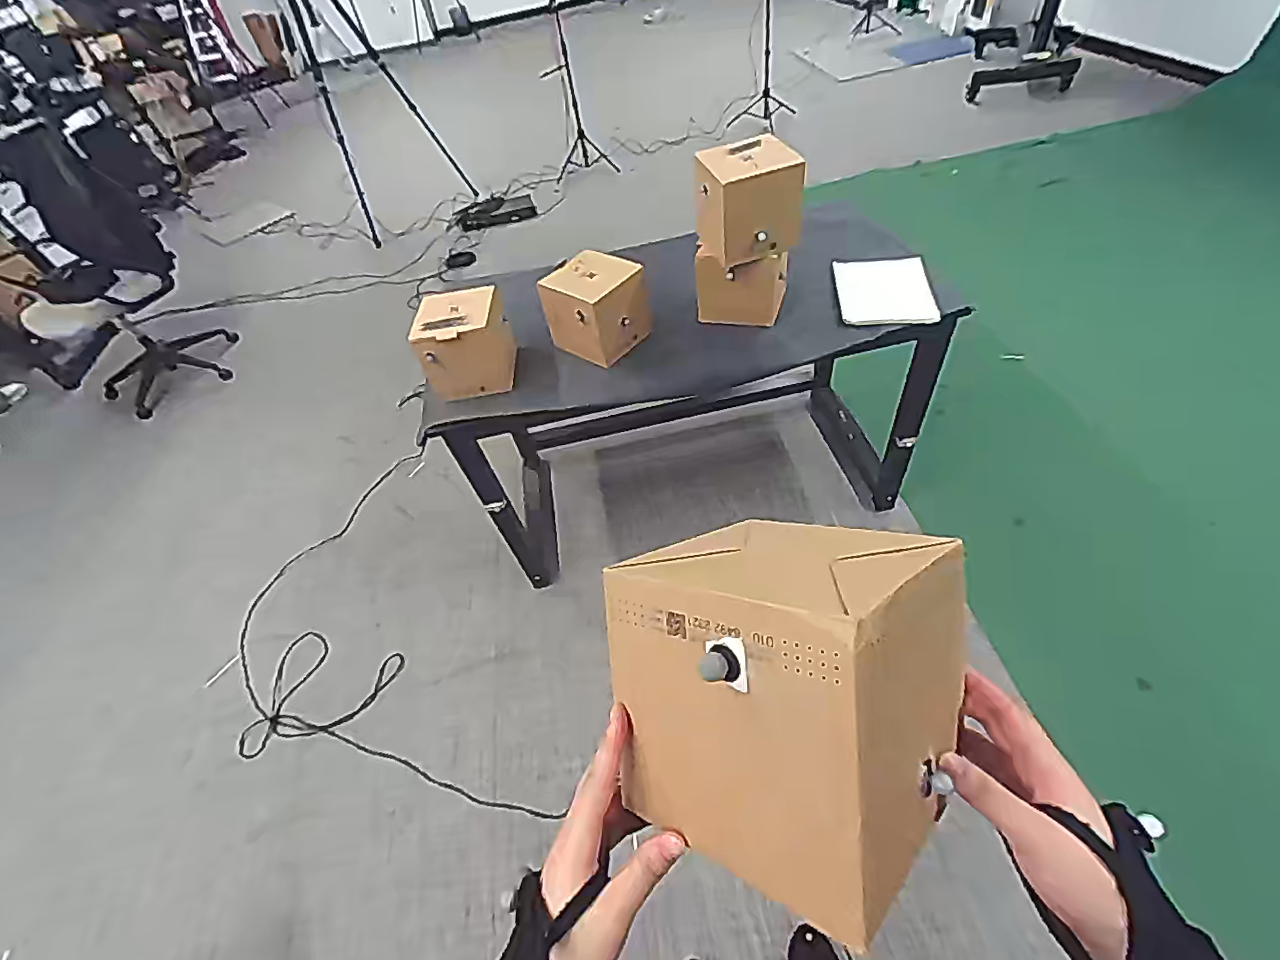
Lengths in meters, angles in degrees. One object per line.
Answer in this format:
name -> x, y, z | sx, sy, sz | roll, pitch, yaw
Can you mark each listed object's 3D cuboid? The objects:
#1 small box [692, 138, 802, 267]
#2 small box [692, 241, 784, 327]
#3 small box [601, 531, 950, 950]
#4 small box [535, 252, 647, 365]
small box -> 0.212, -0.563, 1.102 | 0.168, 0.176, 0.179 | -17, 49, -2
small box -> 0.231, -0.468, 1.236 | 0.179, 0.176, 0.168 | 10, 52, 19
small box -> 0.093, 0.129, 0.360 | 0.168, 0.176, 0.179 | 0, 7, 45
small box -> -0.103, -0.385, 1.226 | 0.179, 0.176, 0.168 | 28, 60, 30
